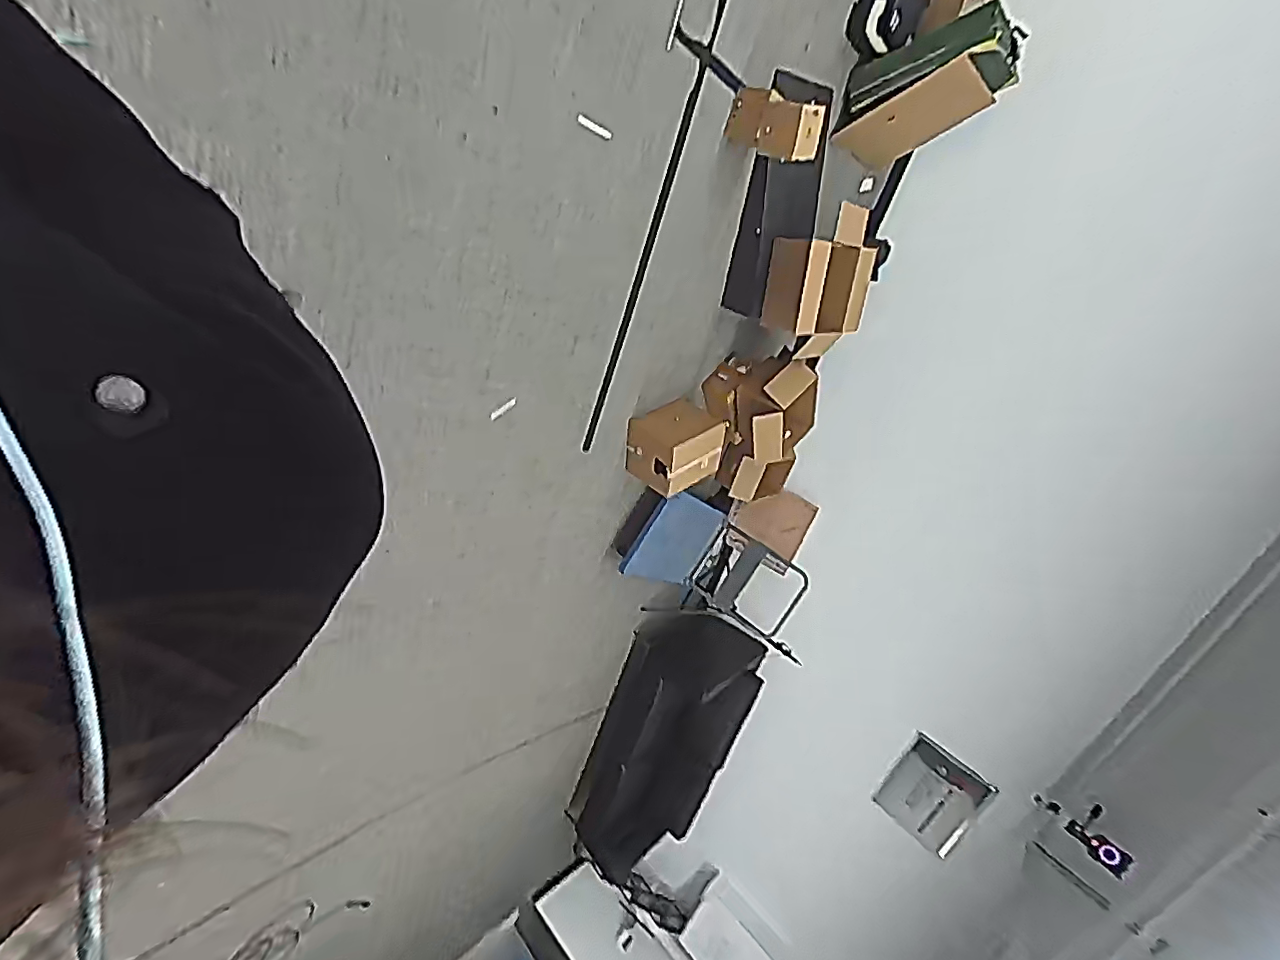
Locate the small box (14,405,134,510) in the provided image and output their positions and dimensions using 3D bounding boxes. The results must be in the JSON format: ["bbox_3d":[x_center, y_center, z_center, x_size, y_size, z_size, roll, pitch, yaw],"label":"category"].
[{"bbox_3d":[-1.247,-0.056,1.194,0.168,0.176,0.179,-7,125,-51],"label":"small box"}]
